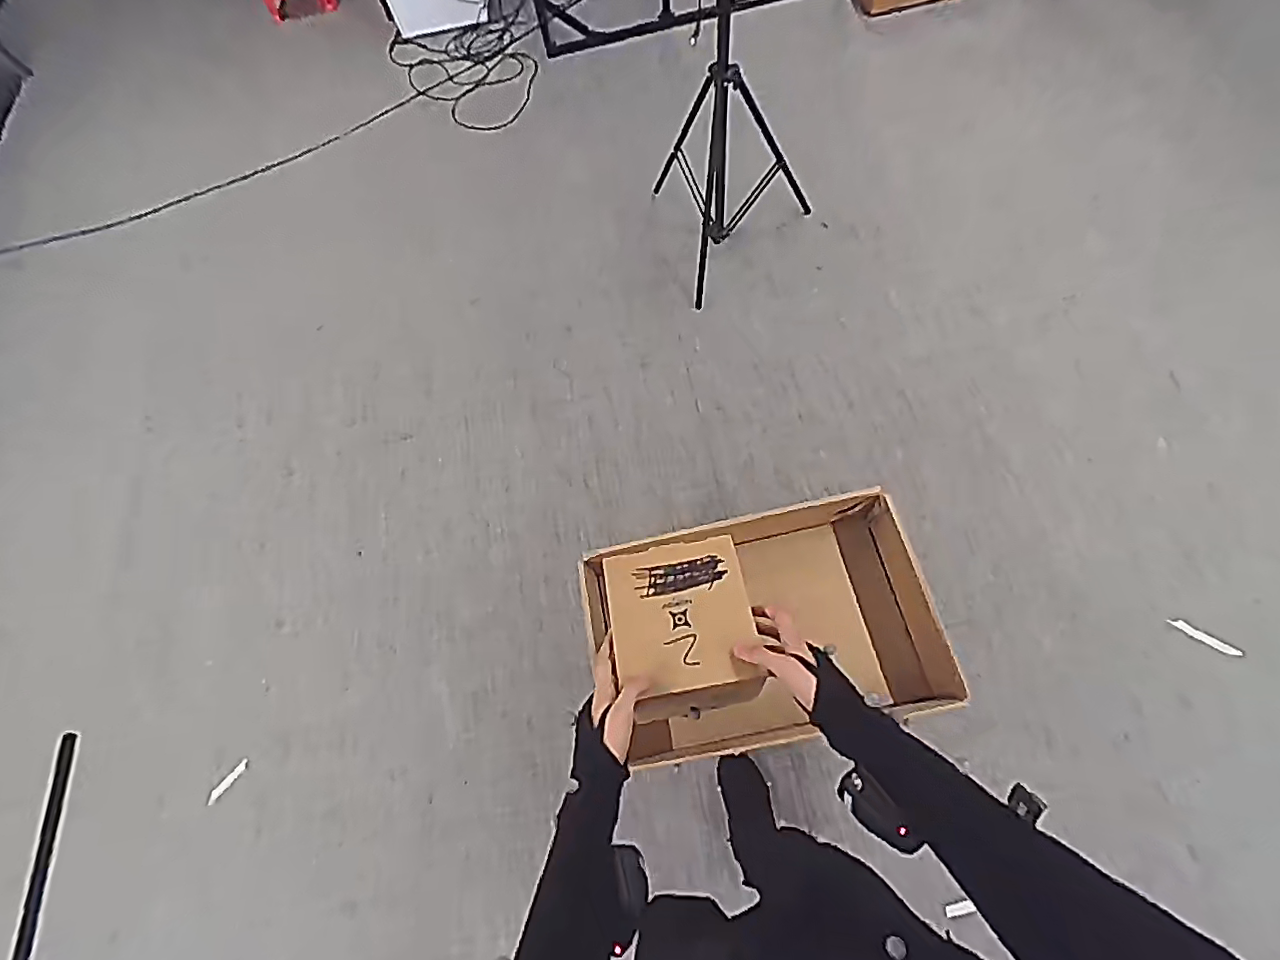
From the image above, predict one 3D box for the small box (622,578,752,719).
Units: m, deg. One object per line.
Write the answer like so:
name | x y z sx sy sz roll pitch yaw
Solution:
small box | 0.073 0.275 0.863 0.168 0.176 0.179 -13 65 3
